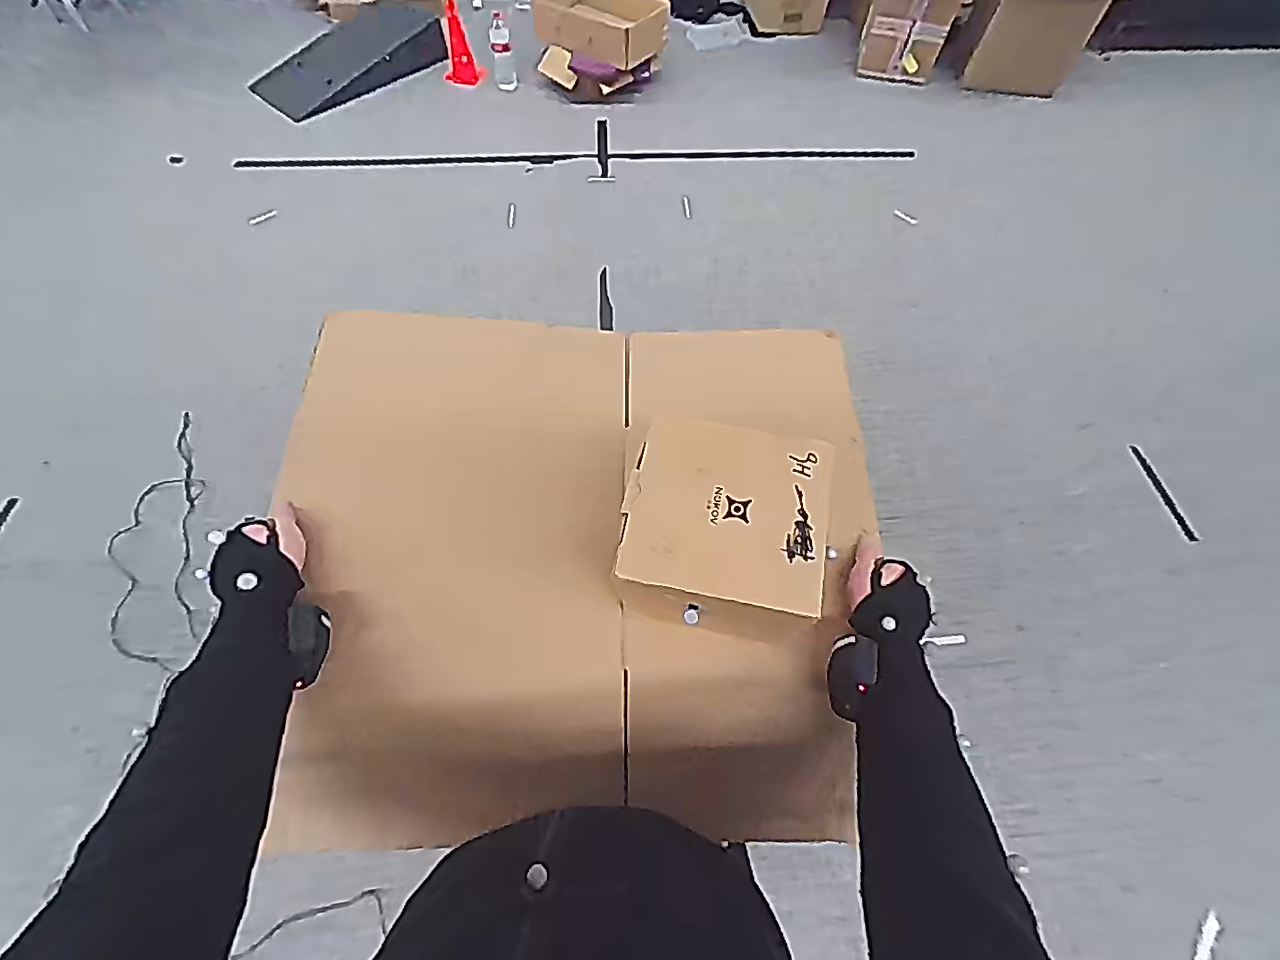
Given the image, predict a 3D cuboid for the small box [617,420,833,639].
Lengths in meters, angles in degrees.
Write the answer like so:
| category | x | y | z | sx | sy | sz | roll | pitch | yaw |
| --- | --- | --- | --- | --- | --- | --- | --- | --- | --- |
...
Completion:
| category | x | y | z | sx | sy | sz | roll | pitch | yaw |
| --- | --- | --- | --- | --- | --- | --- | --- | --- | --- |
| small box | 0.087 | 0.059 | 0.562 | 0.179 | 0.176 | 0.168 | 9 | 67 | 9 |
